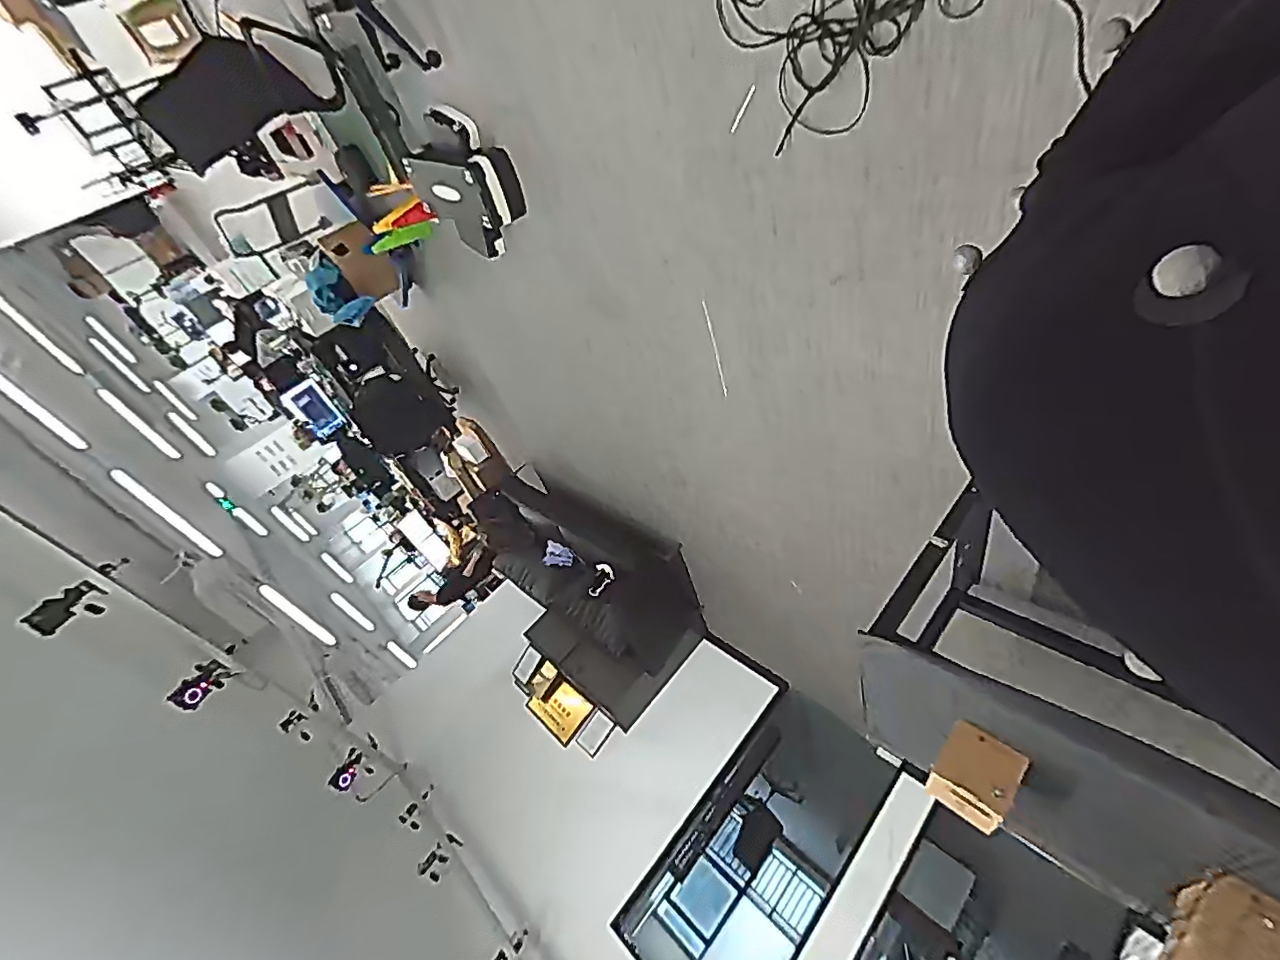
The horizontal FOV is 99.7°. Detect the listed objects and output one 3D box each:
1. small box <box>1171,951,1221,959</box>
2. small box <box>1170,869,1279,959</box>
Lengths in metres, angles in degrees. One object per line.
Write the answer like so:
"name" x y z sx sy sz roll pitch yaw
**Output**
"small box" 1.104 1.030 1.007 0.168 0.176 0.179 27 151 39
"small box" 1.211 0.924 1.072 0.168 0.176 0.179 25 148 40
